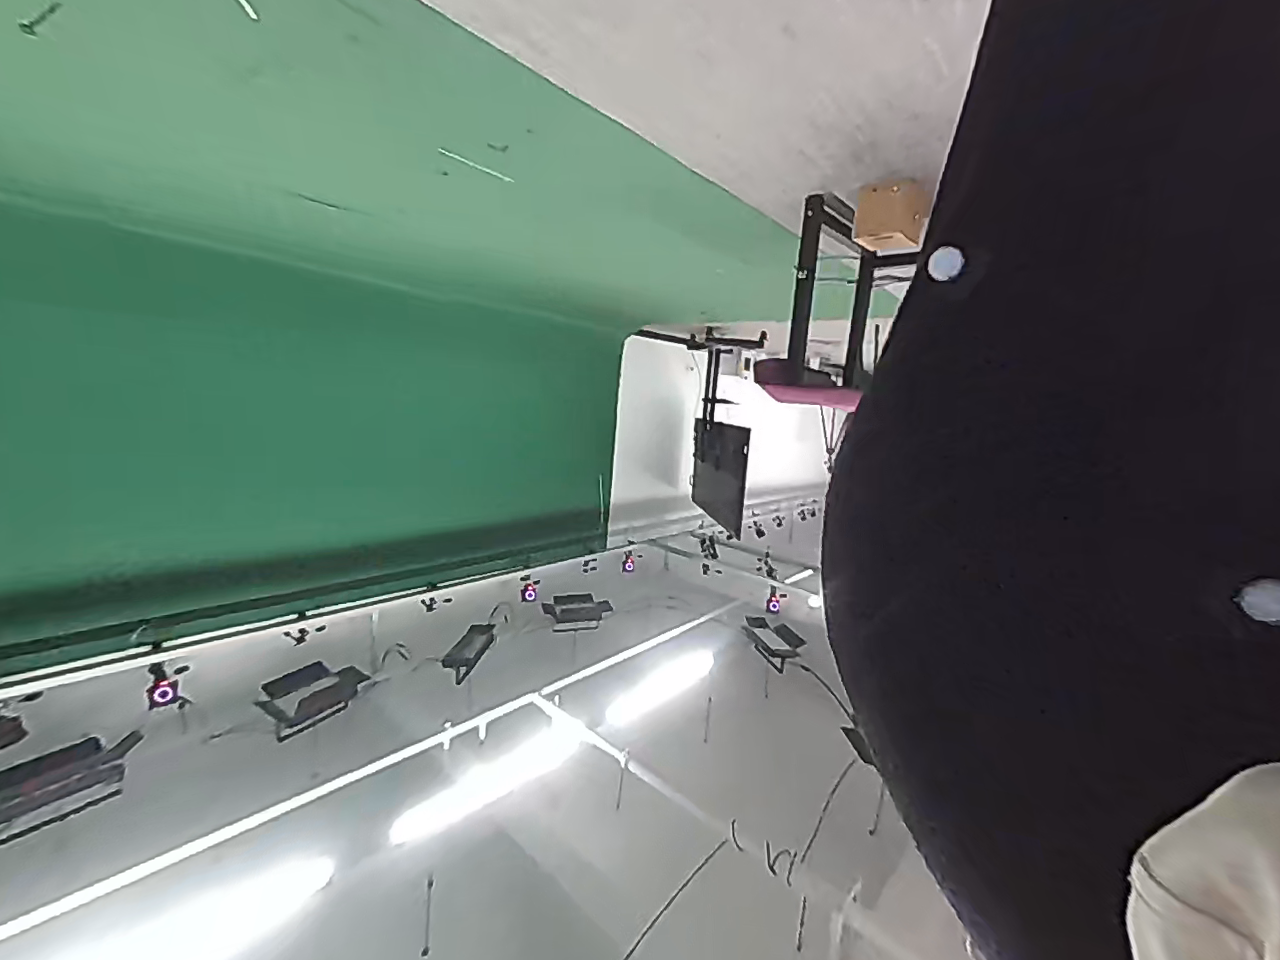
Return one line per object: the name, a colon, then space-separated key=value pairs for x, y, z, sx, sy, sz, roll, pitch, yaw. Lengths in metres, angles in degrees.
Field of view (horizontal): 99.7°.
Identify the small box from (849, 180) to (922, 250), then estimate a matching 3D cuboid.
small box: x=0.831 y=-0.896 z=1.830 sx=0.168 sy=0.176 sz=0.179 roll=14 pitch=-166 yaw=43
